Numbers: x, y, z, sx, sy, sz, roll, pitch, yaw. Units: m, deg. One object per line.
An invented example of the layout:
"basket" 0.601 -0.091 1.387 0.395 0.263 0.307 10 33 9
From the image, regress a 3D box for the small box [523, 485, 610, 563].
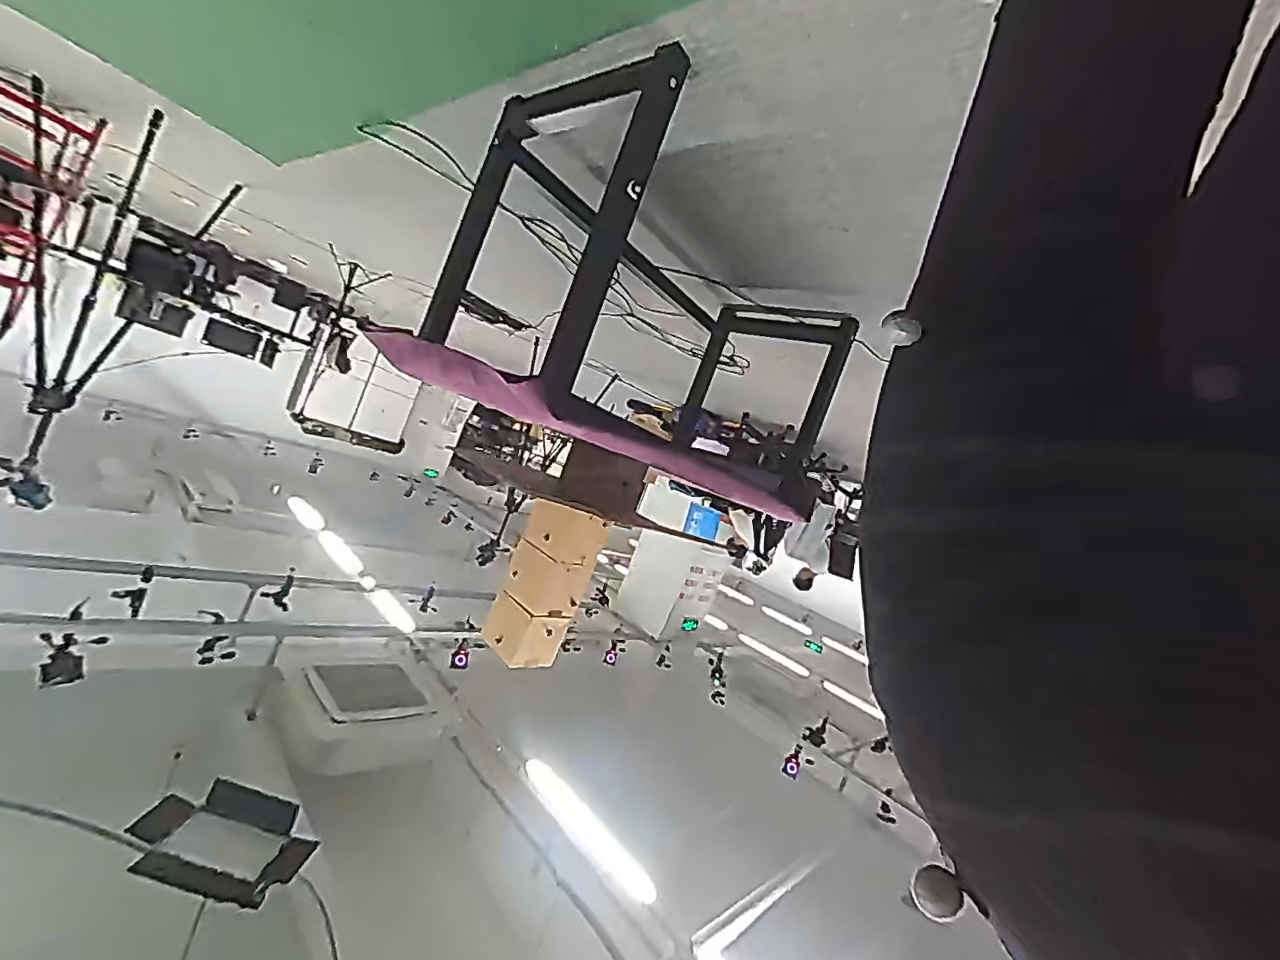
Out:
"small box" -0.211 0.129 1.610 0.179 0.176 0.168 25 -177 39

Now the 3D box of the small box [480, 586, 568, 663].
"small box" -0.344 0.428 1.628 0.179 0.176 0.168 25 -177 41
